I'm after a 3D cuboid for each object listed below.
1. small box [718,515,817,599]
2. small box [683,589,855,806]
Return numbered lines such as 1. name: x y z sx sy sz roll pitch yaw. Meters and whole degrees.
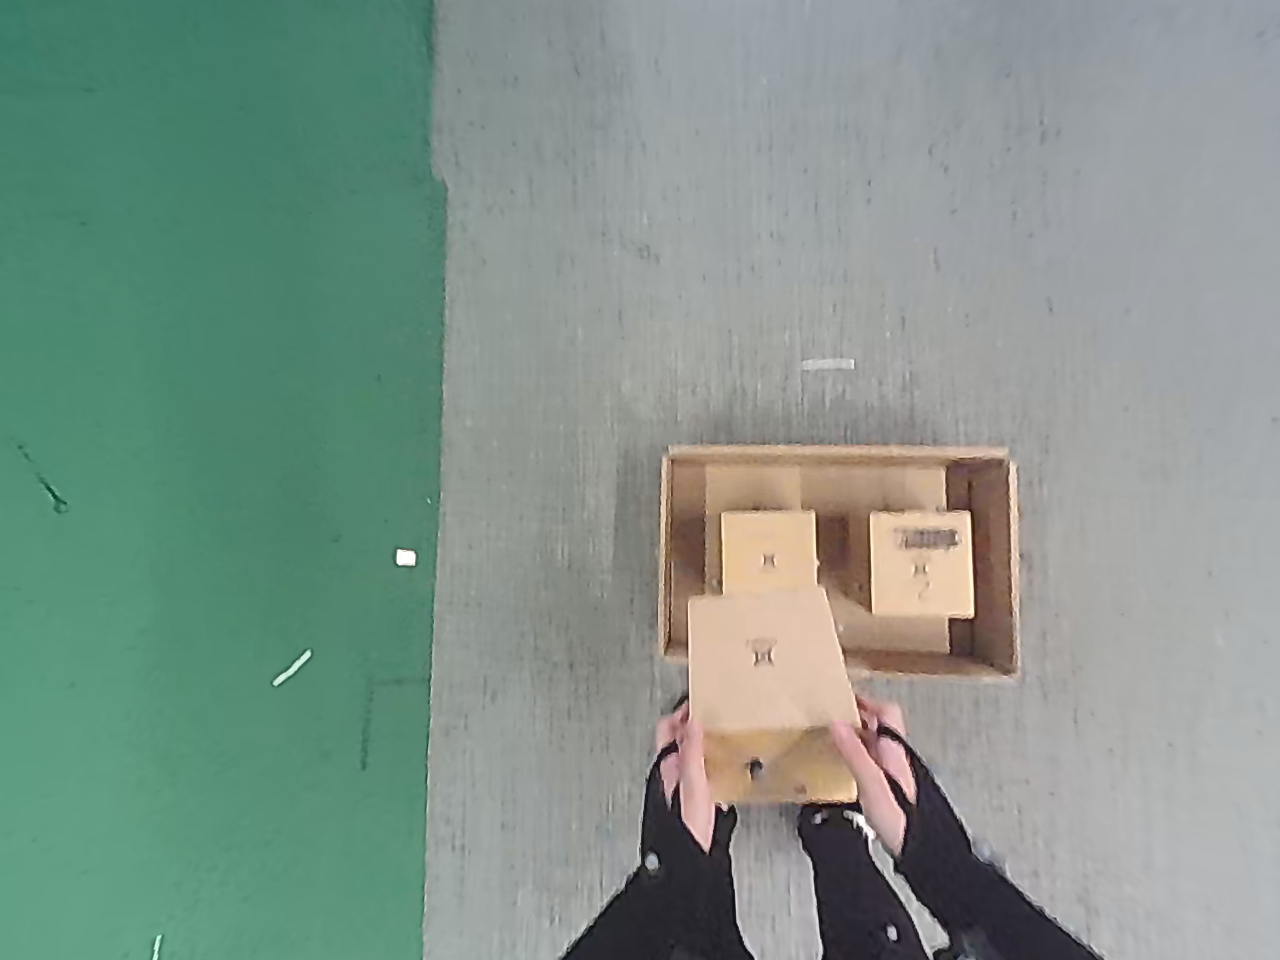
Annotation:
1. small box: 0.235 0.156 1.025 0.168 0.176 0.179 0 85 5
2. small box: 0.145 0.254 0.623 0.168 0.179 0.176 -8 124 10
